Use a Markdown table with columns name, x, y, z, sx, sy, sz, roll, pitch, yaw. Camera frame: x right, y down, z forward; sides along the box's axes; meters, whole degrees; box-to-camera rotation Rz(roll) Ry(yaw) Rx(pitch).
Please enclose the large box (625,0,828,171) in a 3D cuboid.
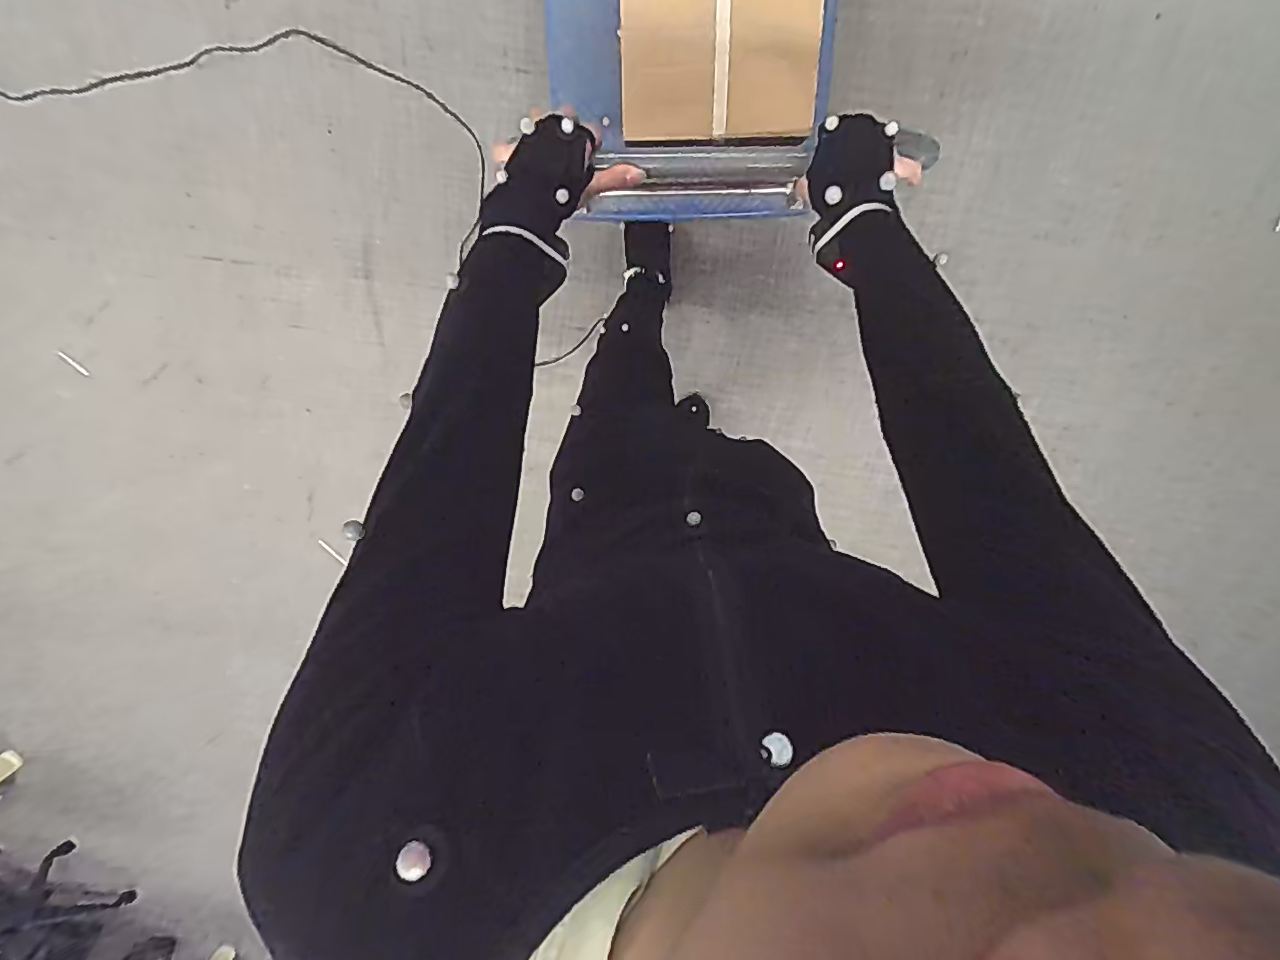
| name | x | y | z | sx | sy | sz | roll | pitch | yaw |
| --- | --- | --- | --- | --- | --- | --- | --- | --- | --- |
| large box | 0.137 | -0.801 | 0.951 | 0.320 | 0.320 | 0.408 | 0 | 111 | 2 |
